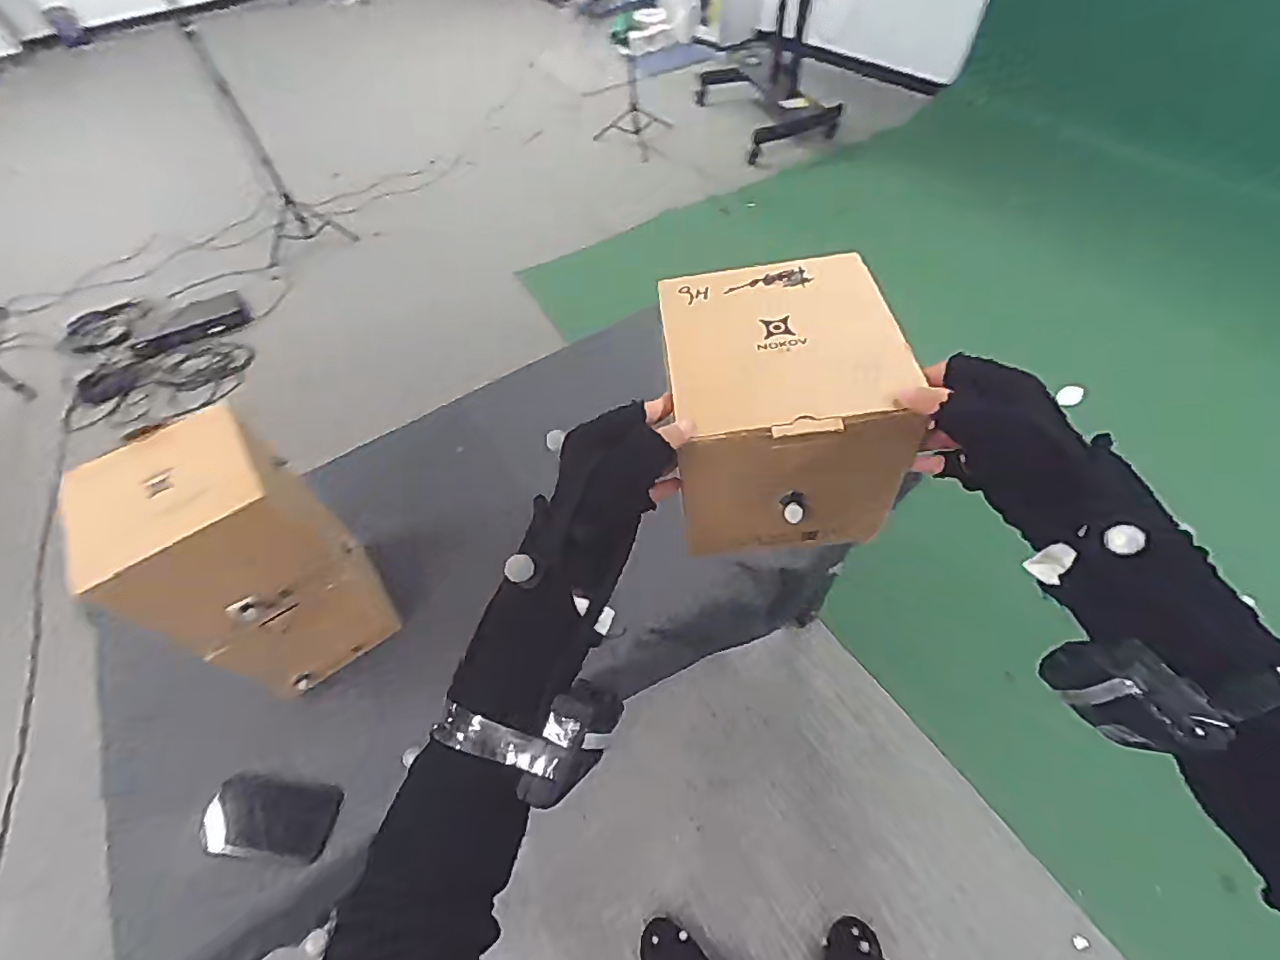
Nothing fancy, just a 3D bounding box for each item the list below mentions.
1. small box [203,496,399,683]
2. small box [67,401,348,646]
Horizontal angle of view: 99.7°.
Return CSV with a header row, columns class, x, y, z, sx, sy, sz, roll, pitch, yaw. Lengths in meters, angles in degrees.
class,x,y,z,sx,sy,sz,roll,pitch,yaw
small box,-0.460,0.150,0.732,0.168,0.176,0.179,-33,57,-19
small box,-0.468,0.052,0.604,0.168,0.176,0.179,-34,59,-19
